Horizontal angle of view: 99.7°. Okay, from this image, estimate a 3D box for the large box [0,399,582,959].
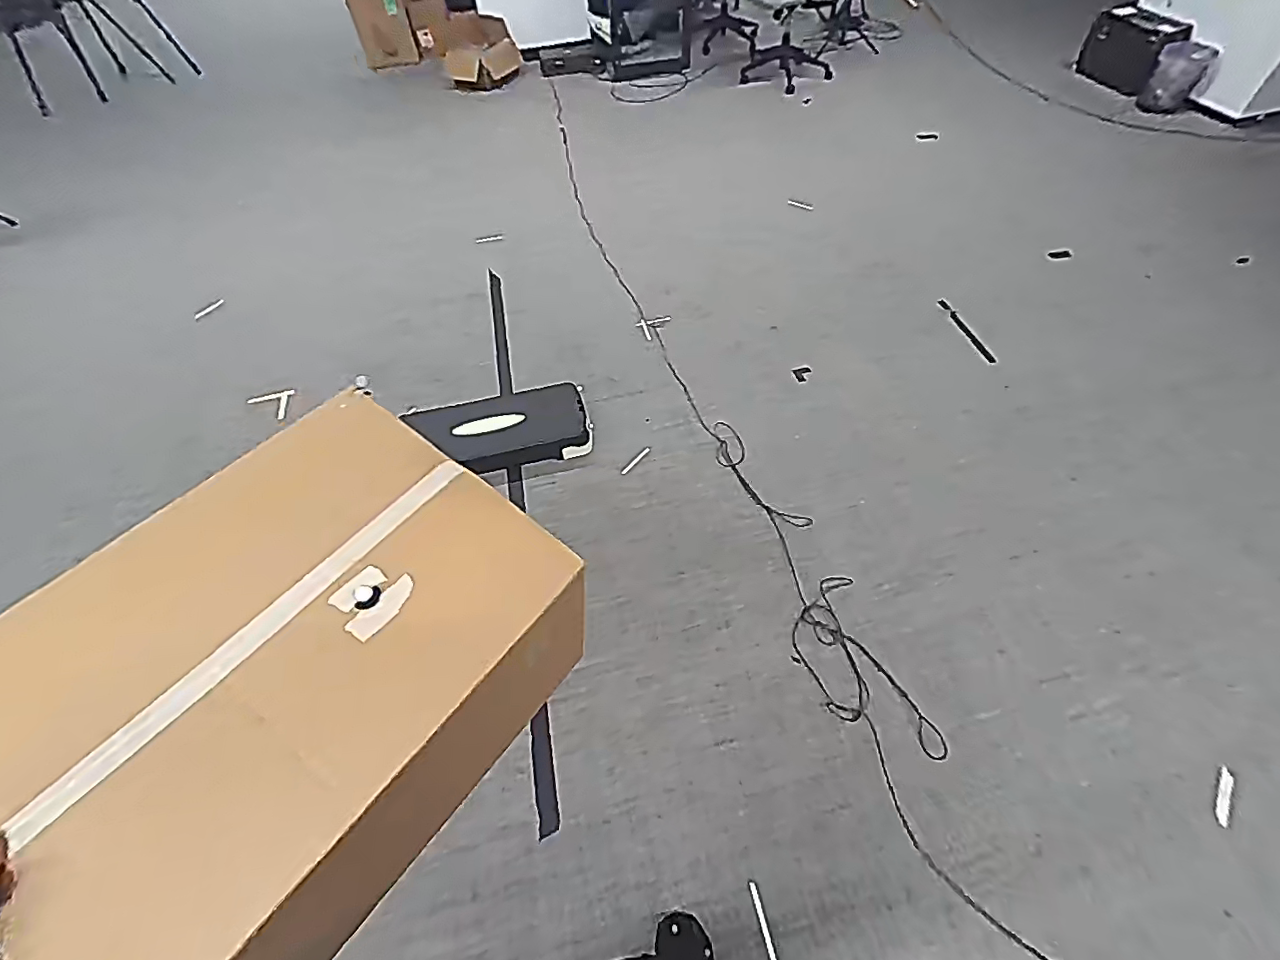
[{"bbox_3d":[-0.301,0.202,0.563,0.320,0.320,0.408,35,60,15],"label":"large box"}]
